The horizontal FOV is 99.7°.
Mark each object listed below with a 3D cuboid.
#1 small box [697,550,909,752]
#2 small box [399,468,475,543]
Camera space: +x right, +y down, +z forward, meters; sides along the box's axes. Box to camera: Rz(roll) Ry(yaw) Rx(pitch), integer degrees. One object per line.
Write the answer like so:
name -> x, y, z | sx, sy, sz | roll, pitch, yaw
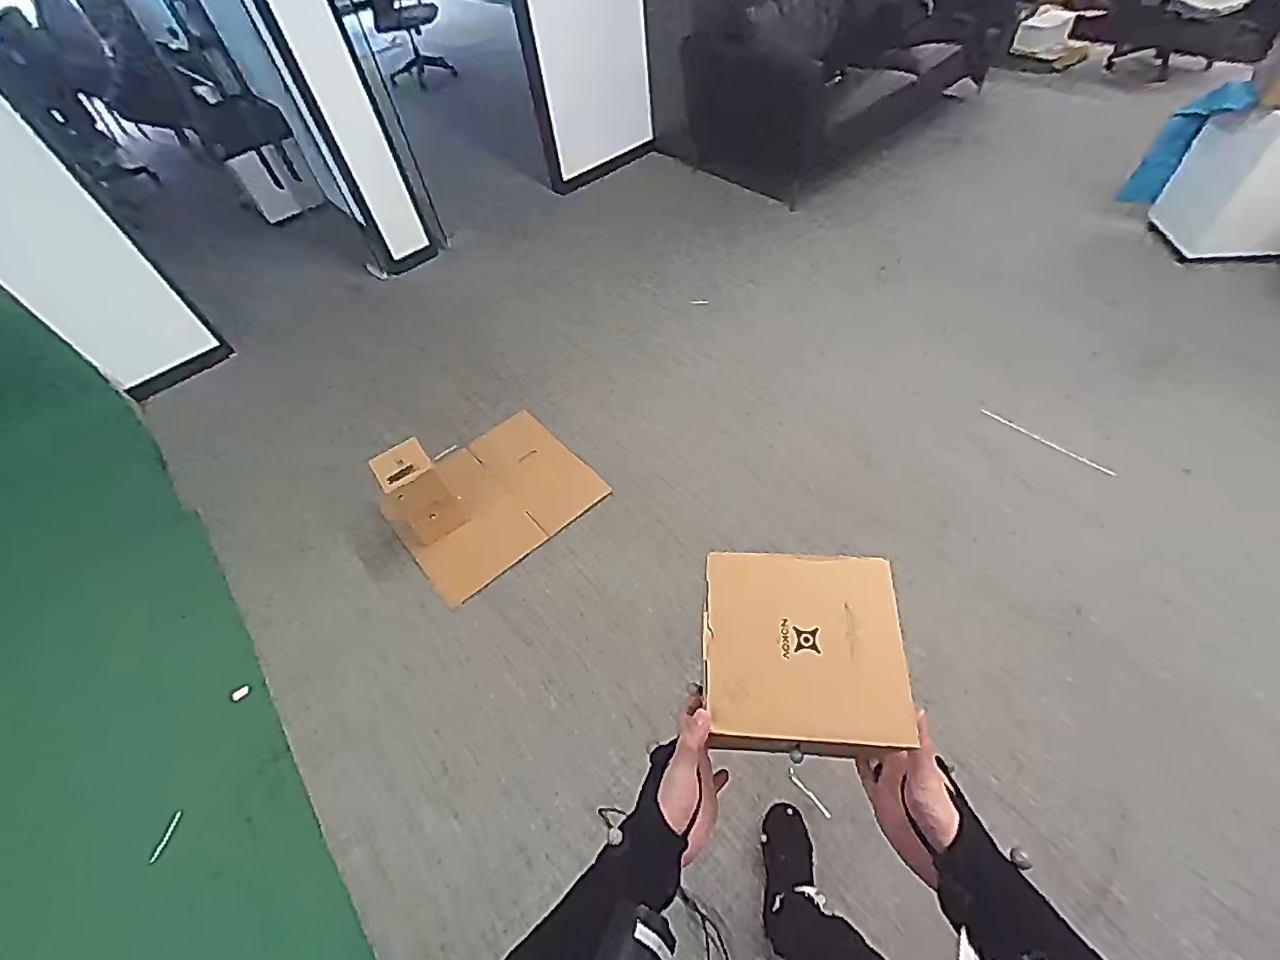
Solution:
small box -> 0.150, 0.182, 0.560 | 0.179, 0.176, 0.168 | 1, 61, 6
small box -> -0.726, 0.096, 1.947 | 0.179, 0.176, 0.168 | -33, 56, -17
